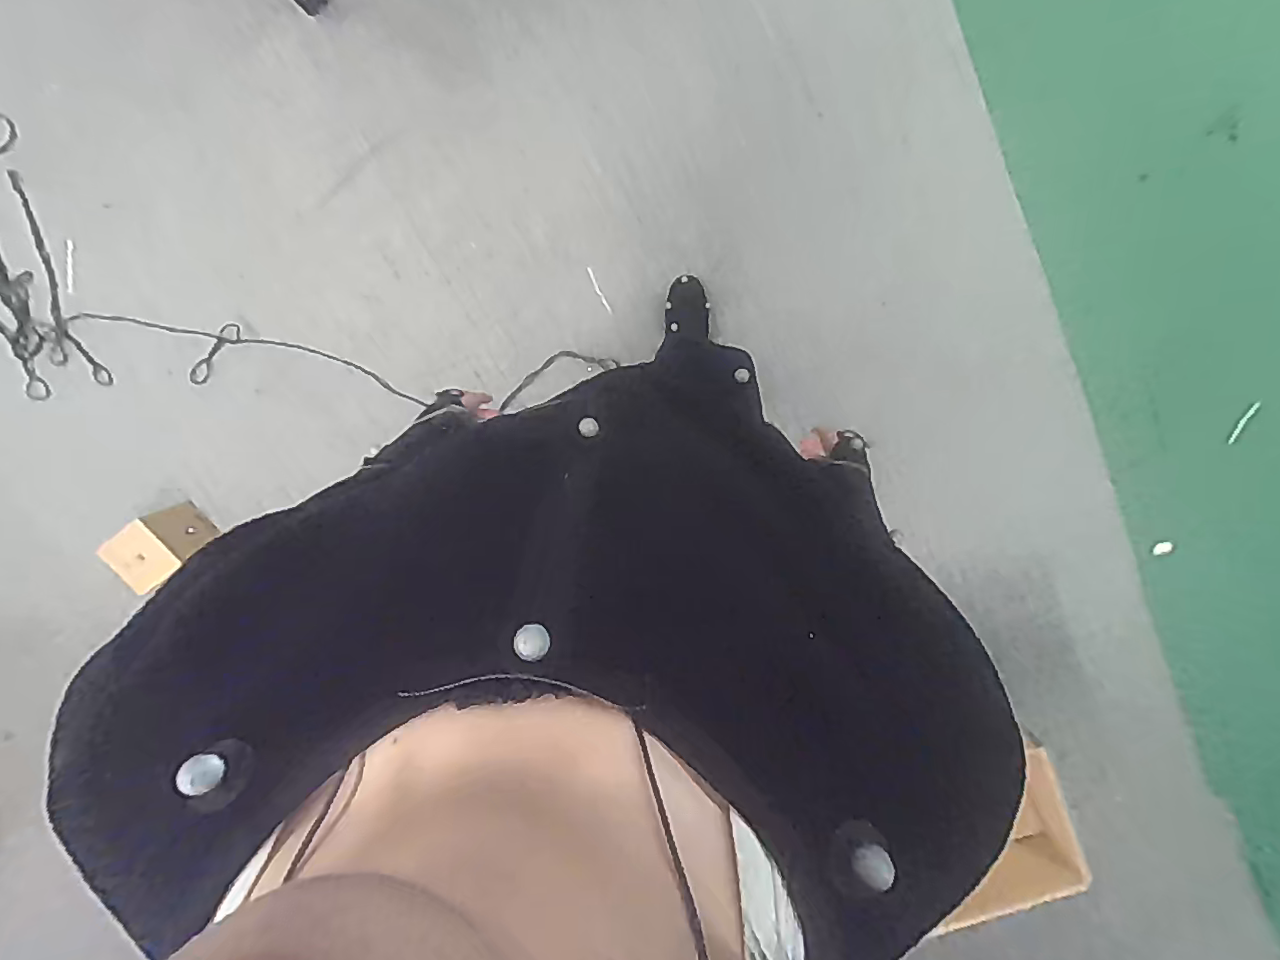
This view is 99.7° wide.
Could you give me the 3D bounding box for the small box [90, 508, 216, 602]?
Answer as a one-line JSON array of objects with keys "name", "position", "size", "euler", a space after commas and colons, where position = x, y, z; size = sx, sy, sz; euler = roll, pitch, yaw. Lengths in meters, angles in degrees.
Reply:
[{"name": "small box", "position": [-1.350, 0.203, 1.519], "size": [0.179, 0.176, 0.168], "euler": [-33, 101, 10]}]
